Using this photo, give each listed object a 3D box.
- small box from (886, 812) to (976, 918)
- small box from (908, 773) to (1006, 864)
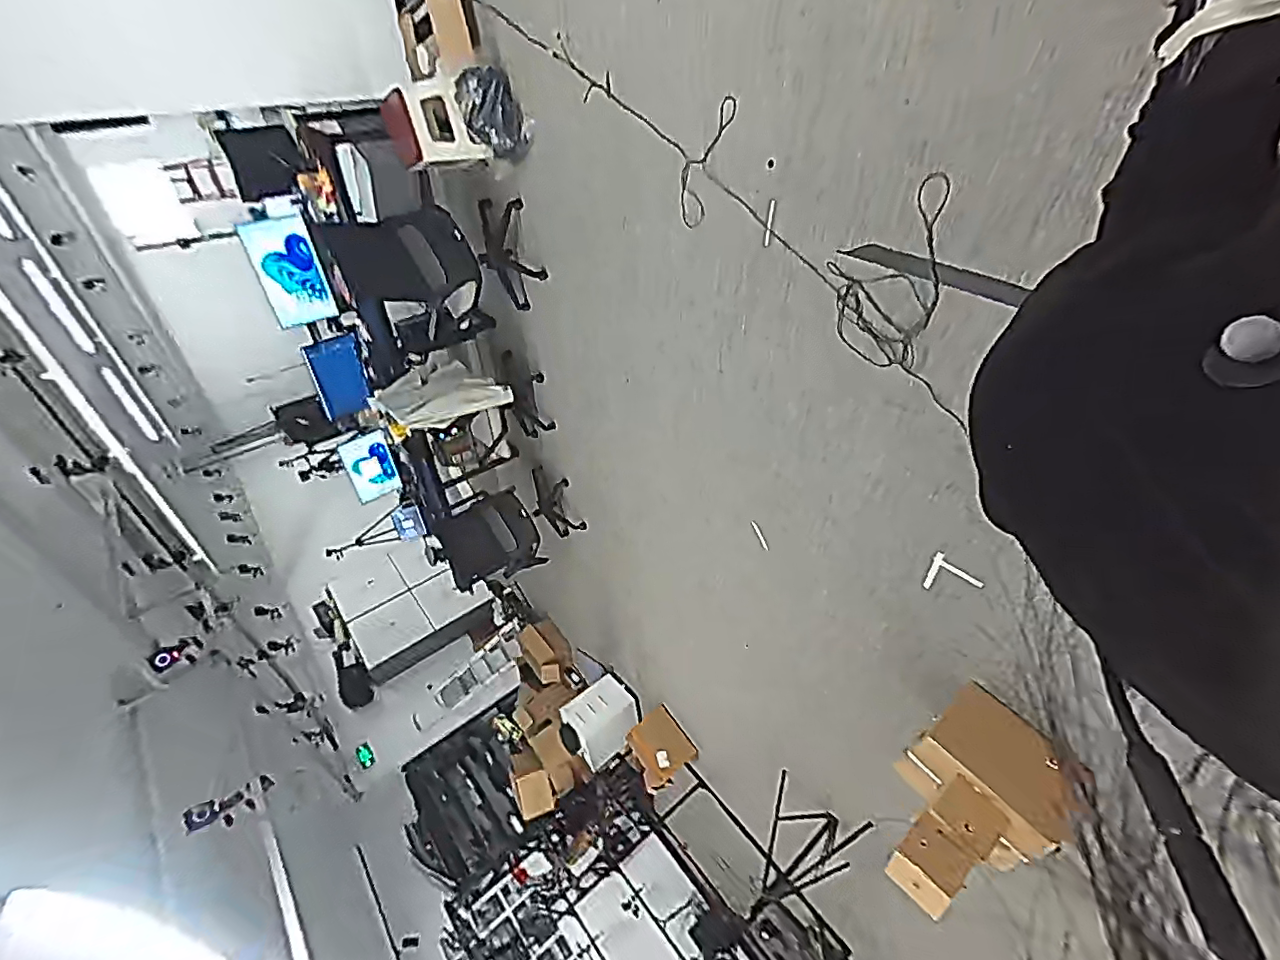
[{"bbox_3d":[0.870,1.143,1.617,0.168,0.176,0.179,33,141,42],"label":"small box"},{"bbox_3d":[0.992,1.061,1.689,0.179,0.176,0.168,44,146,29],"label":"small box"}]
